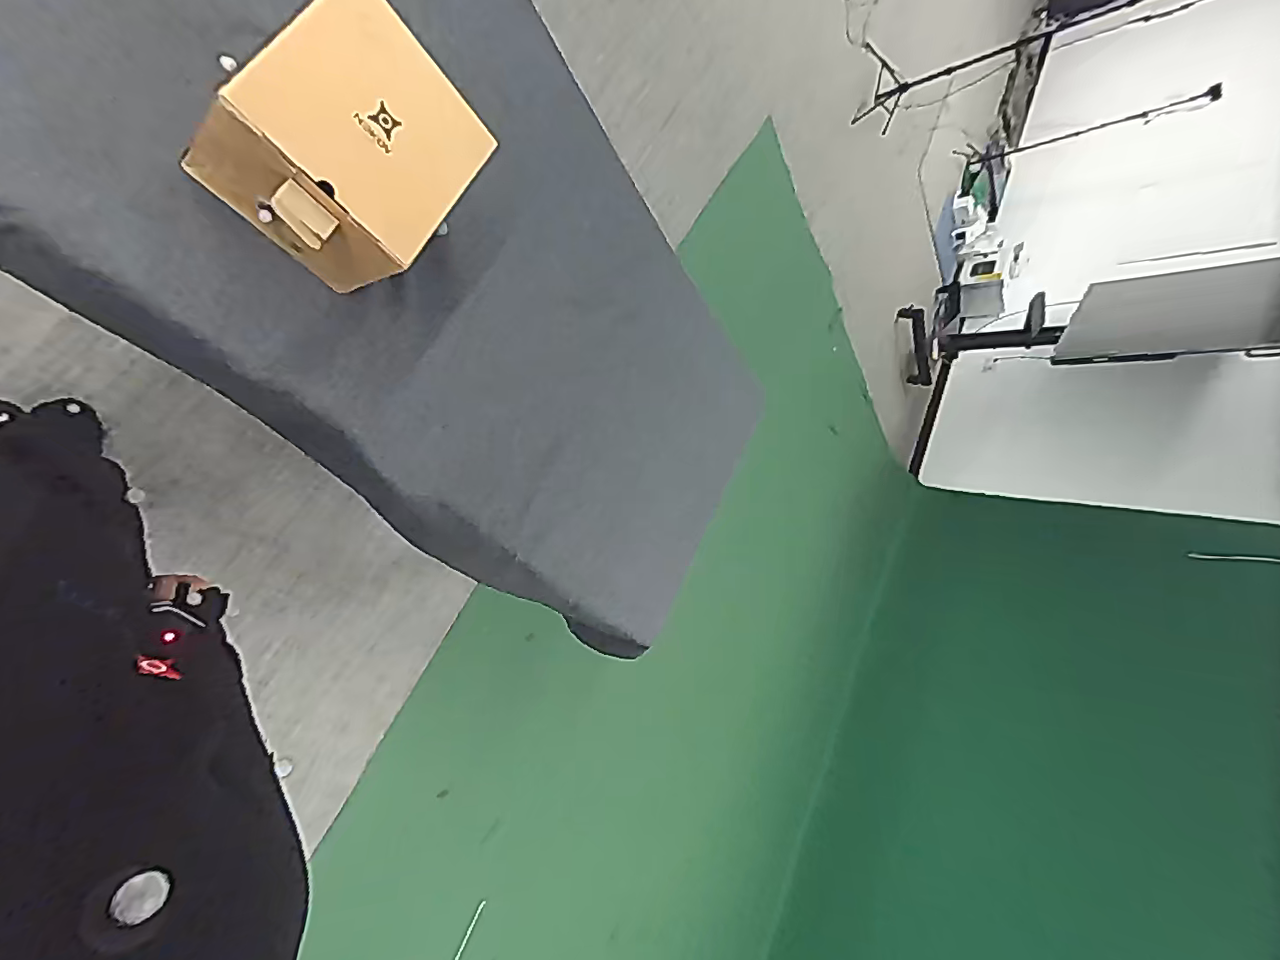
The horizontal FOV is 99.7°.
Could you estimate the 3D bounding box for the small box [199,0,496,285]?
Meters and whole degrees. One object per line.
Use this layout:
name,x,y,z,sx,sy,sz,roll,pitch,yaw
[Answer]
small box,-0.284,-0.320,0.530,0.168,0.176,0.179,43,65,-43
